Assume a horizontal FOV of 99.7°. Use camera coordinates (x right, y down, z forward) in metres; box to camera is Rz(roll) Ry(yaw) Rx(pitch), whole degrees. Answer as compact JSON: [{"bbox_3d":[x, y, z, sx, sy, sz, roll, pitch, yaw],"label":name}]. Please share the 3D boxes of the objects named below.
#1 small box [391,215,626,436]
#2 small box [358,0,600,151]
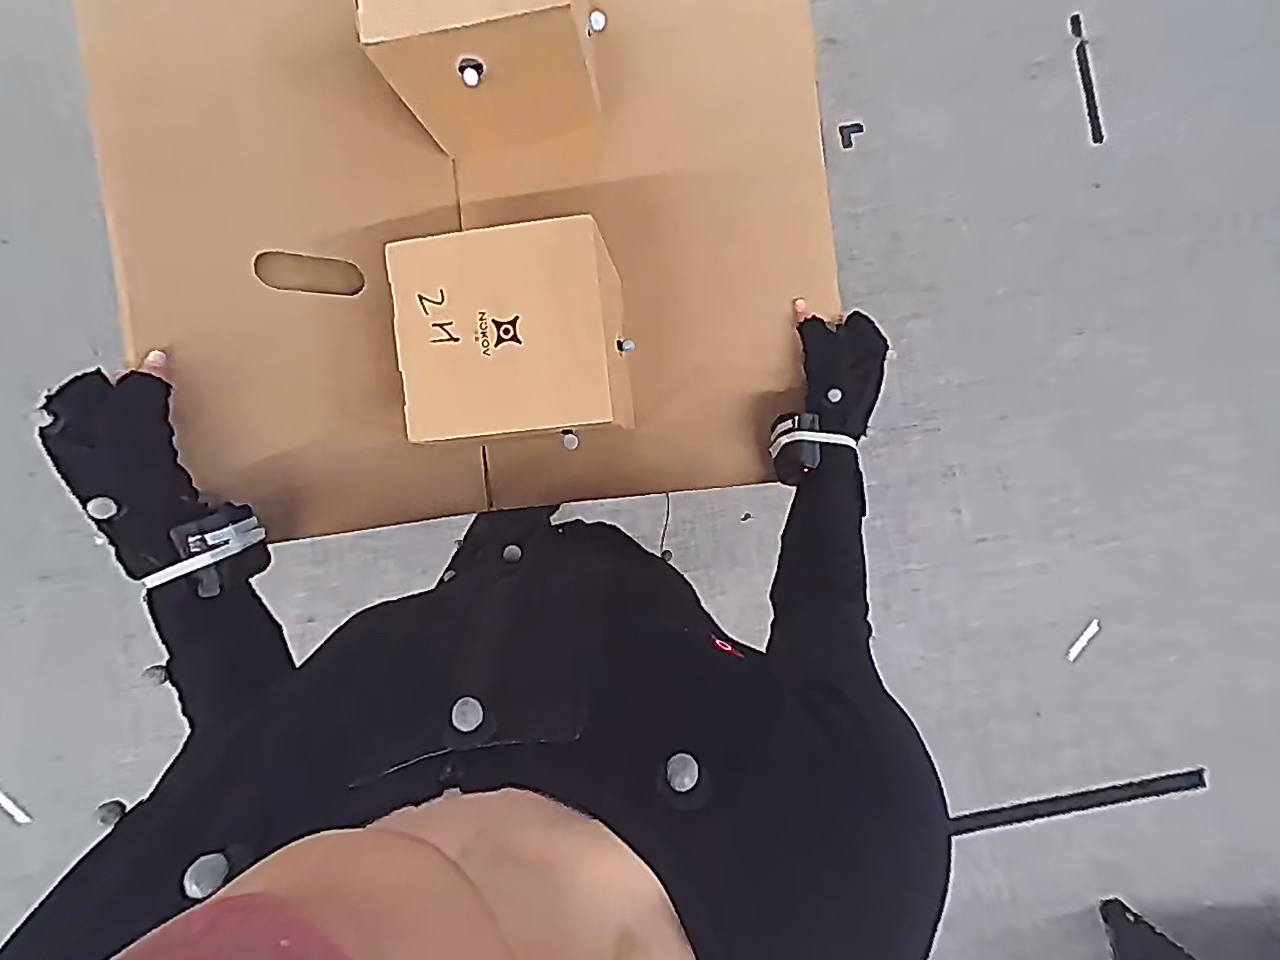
[{"bbox_3d":[-0.109,-0.132,0.528,0.179,0.176,0.168,-5,92,6],"label":"small box"},{"bbox_3d":[-0.146,-0.448,0.517,0.179,0.176,0.168,-7,92,5],"label":"small box"}]
